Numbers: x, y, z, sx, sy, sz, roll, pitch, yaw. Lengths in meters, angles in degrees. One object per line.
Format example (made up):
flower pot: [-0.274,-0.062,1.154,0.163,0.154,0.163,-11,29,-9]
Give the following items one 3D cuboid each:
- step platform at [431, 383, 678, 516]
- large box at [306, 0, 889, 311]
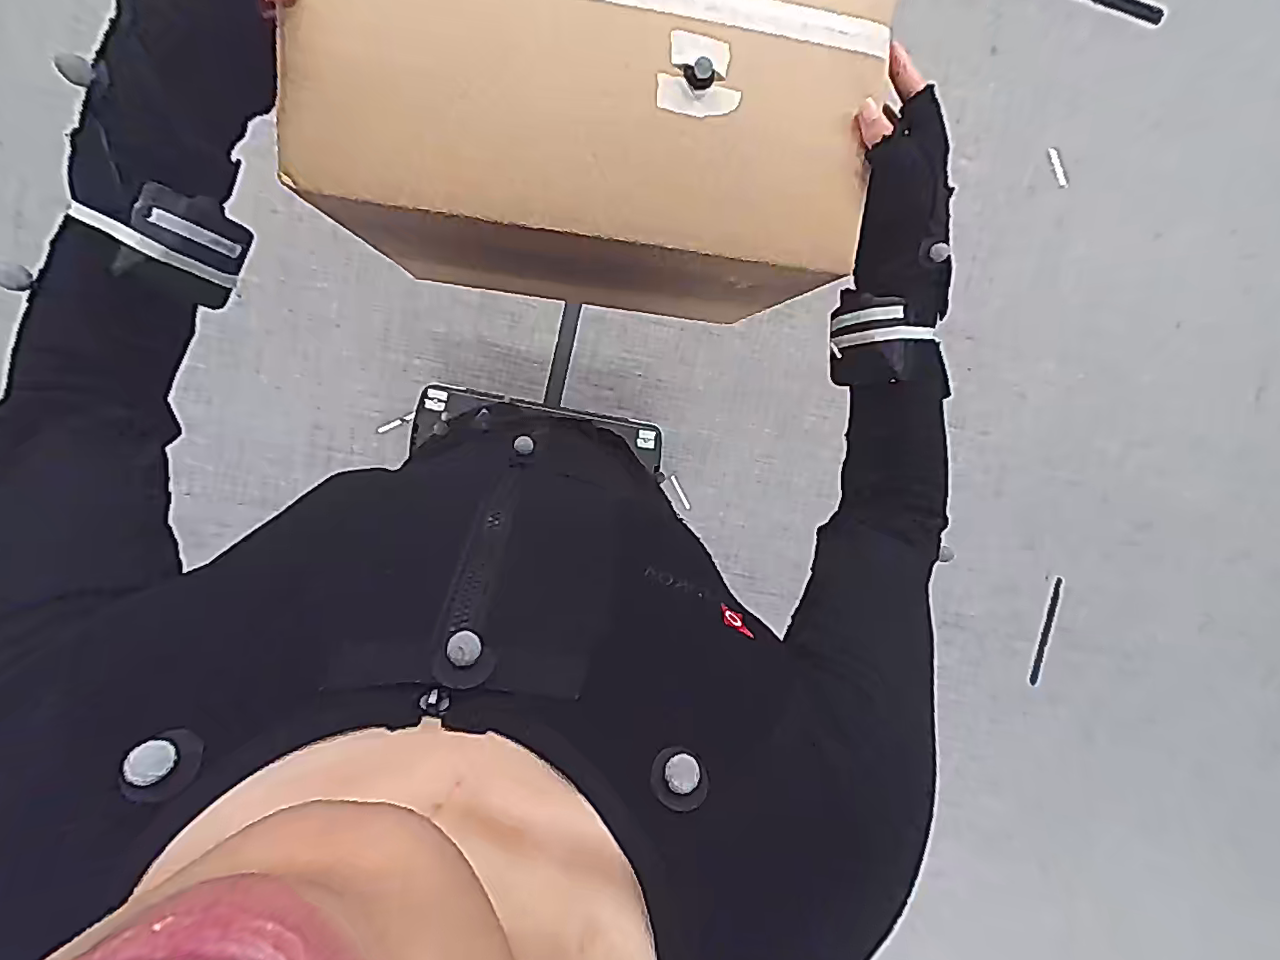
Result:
step platform: [-0.236,-0.085,1.552,0.684,0.204,0.286,9,95,-8]
large box: [-0.037,-0.360,0.518,0.408,0.320,0.320,5,100,-8]
